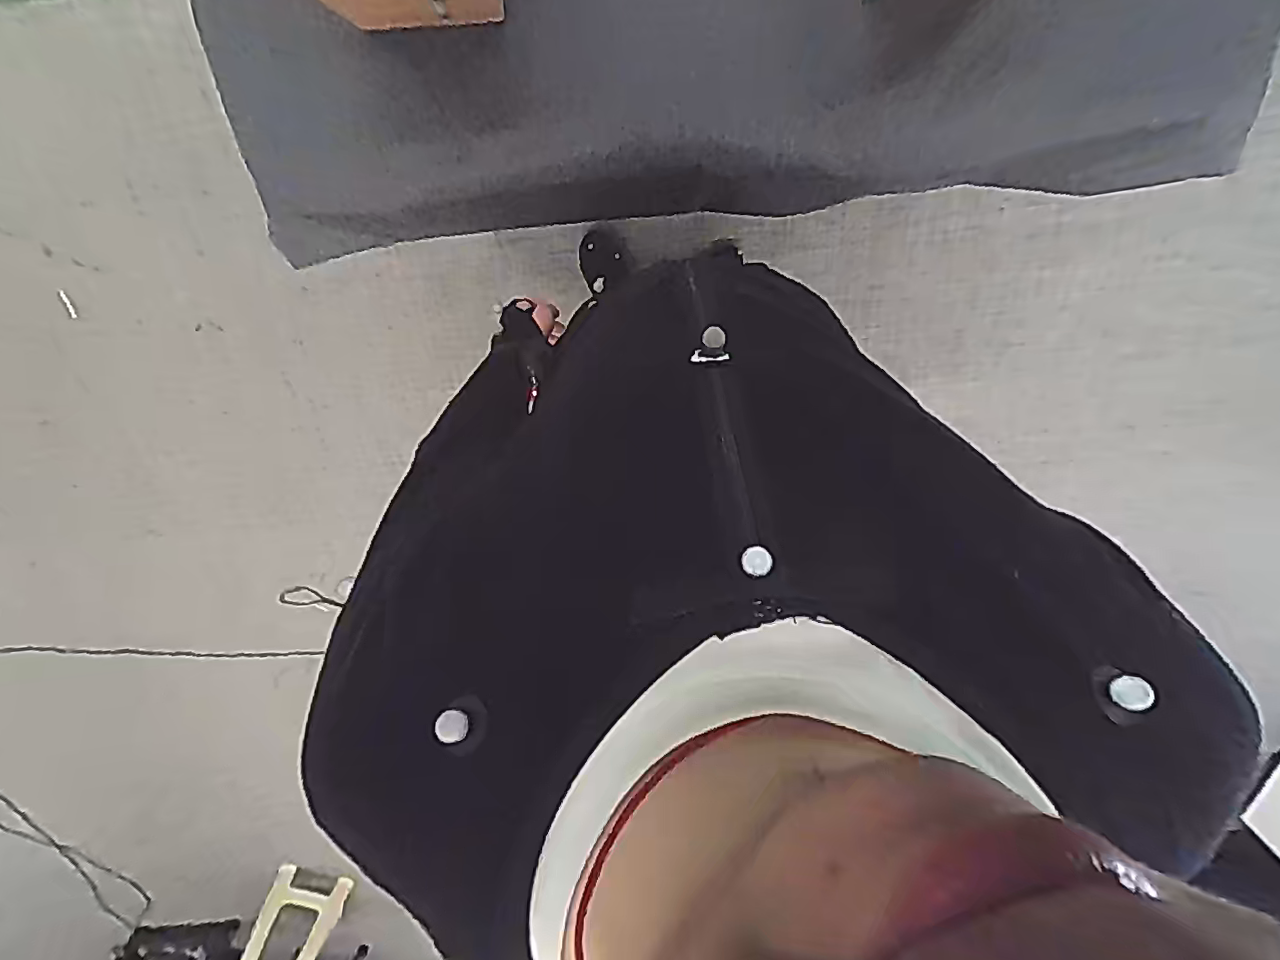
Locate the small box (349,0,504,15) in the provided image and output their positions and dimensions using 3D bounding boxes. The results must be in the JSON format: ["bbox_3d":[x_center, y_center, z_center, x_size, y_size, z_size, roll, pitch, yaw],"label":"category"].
[{"bbox_3d":[-0.230,-0.561,0.497,0.168,0.176,0.179,-3,115,0],"label":"small box"}]
